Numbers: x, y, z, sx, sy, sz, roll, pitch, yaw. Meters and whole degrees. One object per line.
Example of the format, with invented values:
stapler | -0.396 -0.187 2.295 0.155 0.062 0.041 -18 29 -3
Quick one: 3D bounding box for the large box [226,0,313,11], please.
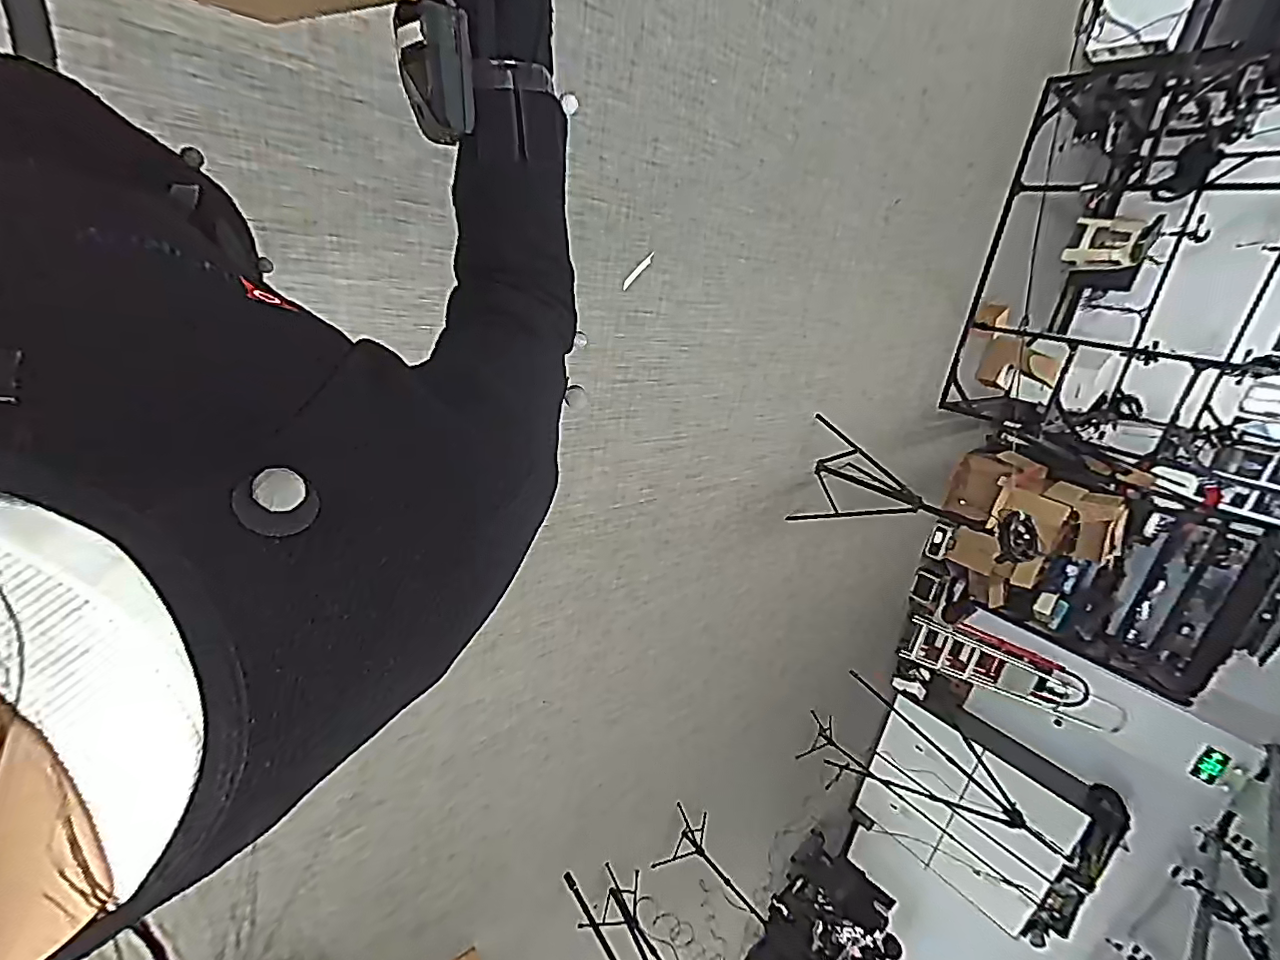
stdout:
large box | -0.343 -0.430 0.186 0.408 0.320 0.320 -15 129 -41
